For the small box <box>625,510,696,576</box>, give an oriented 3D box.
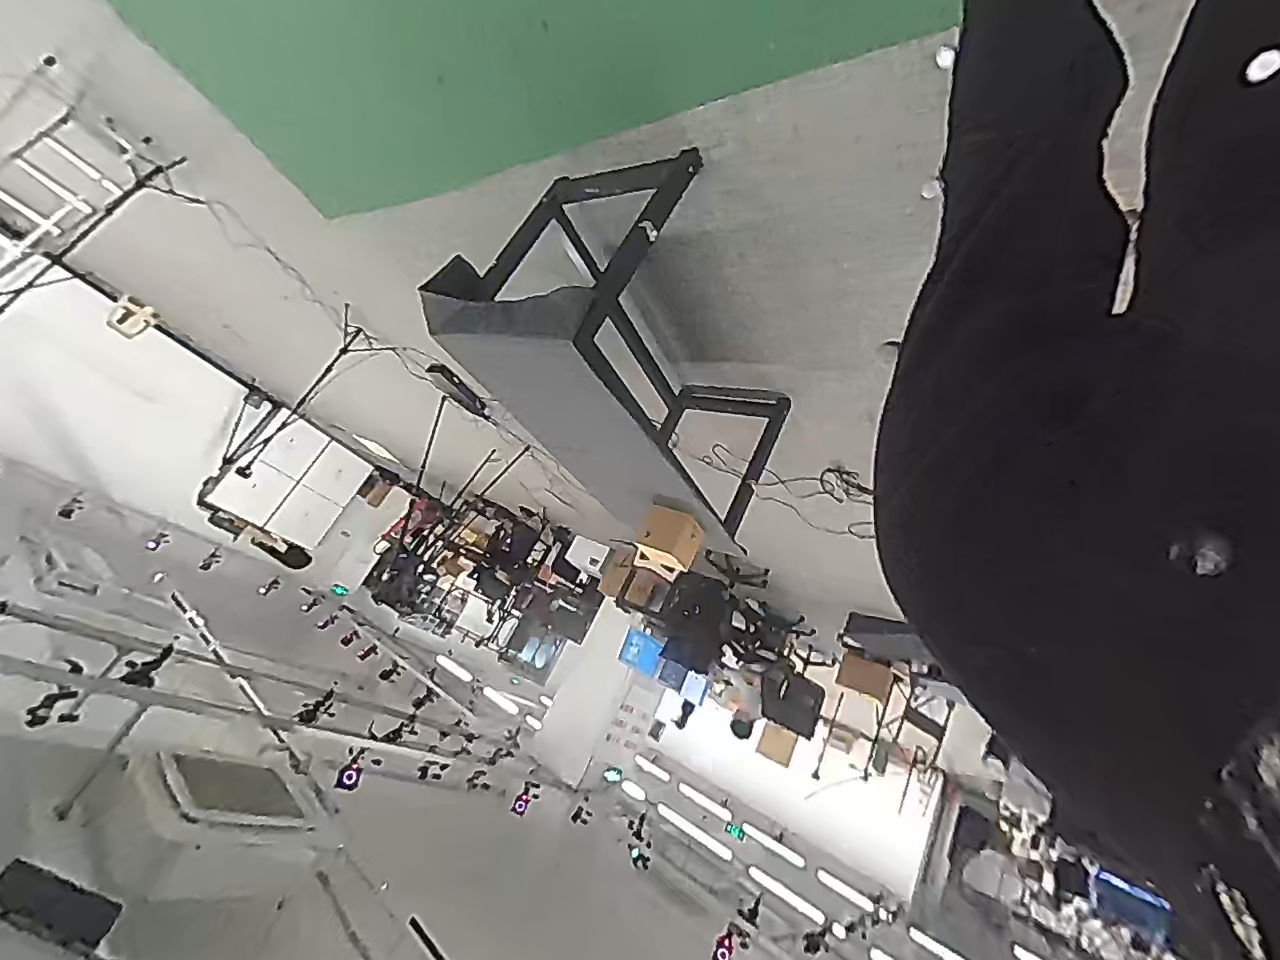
[{"bbox_3d":[0.080,0.228,1.999,0.179,0.176,0.168,13,156,34],"label":"small box"}]
